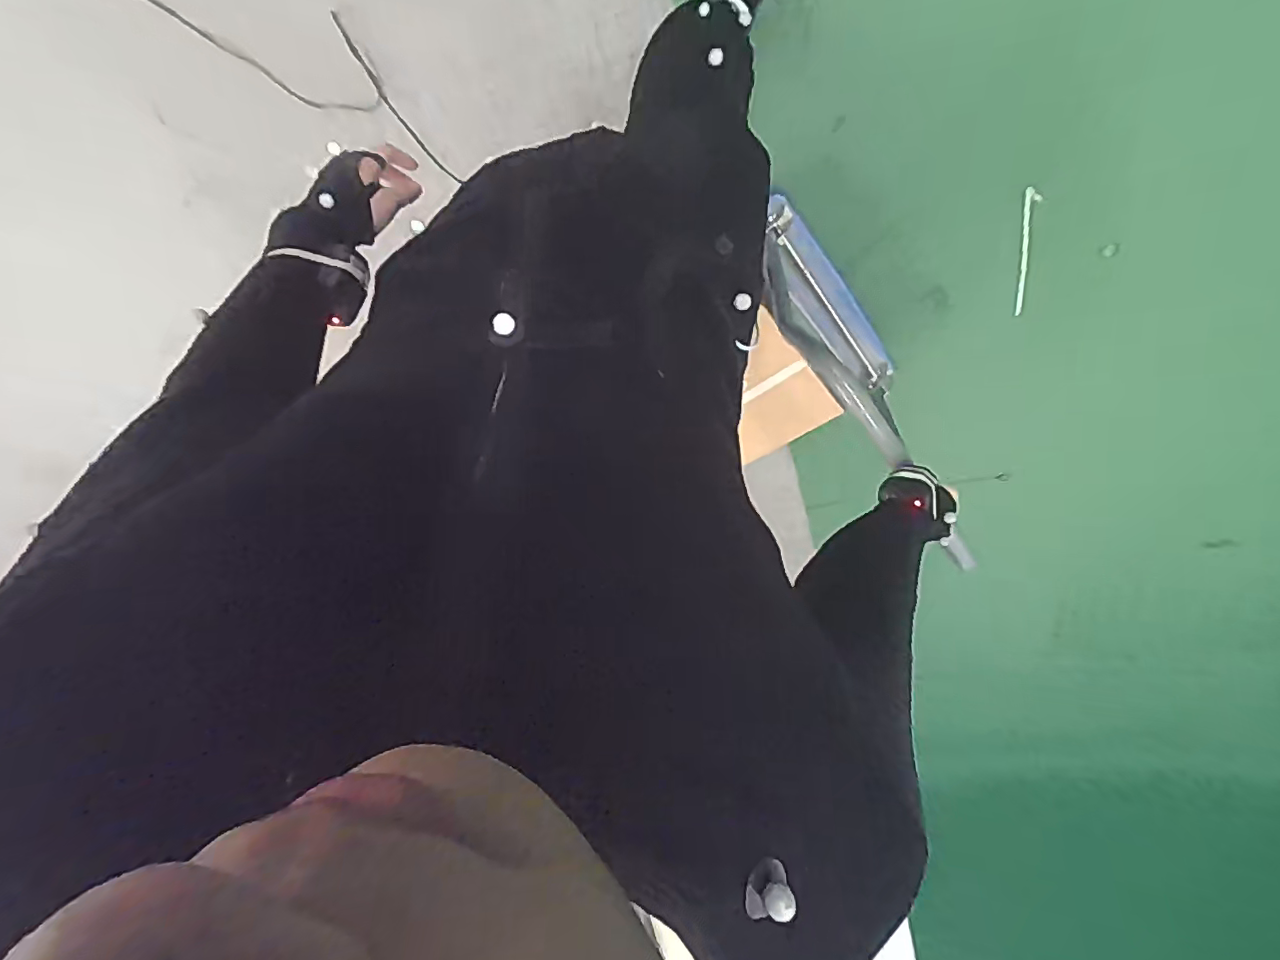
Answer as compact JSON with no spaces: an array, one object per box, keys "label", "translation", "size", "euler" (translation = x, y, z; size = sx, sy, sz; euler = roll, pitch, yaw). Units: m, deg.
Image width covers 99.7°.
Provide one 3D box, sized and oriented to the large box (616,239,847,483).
[{"label":"large box","translation":[0.208,-0.267,1.264],"size":[0.408,0.320,0.320],"euler":[-30,120,33]}]
